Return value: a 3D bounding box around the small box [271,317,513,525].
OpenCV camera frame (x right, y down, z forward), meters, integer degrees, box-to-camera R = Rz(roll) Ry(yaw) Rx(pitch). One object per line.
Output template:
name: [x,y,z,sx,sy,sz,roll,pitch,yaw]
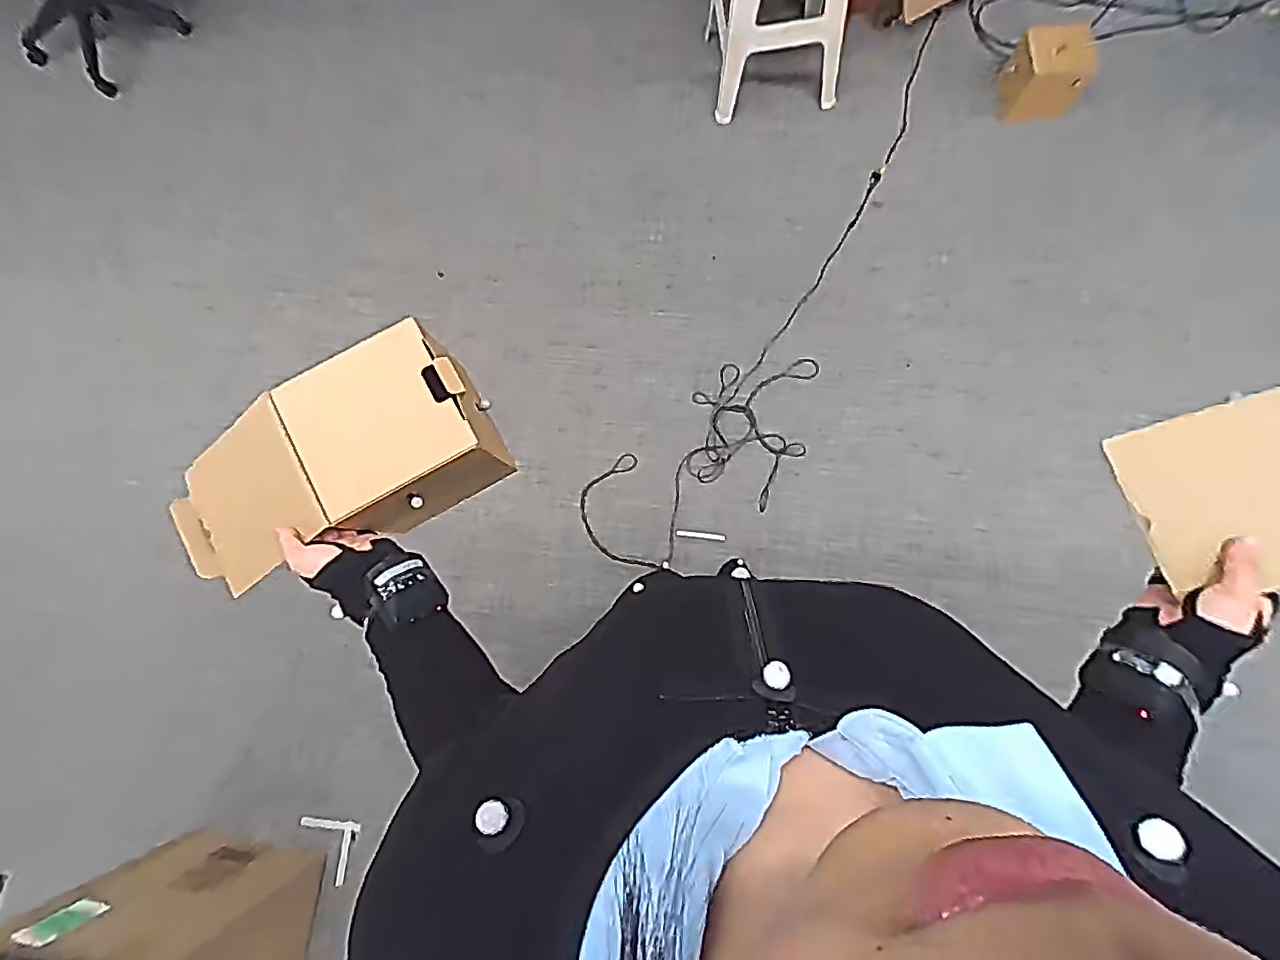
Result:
small box: [-0.279,-0.055,0.648,0.179,0.176,0.168,-29,83,-3]
